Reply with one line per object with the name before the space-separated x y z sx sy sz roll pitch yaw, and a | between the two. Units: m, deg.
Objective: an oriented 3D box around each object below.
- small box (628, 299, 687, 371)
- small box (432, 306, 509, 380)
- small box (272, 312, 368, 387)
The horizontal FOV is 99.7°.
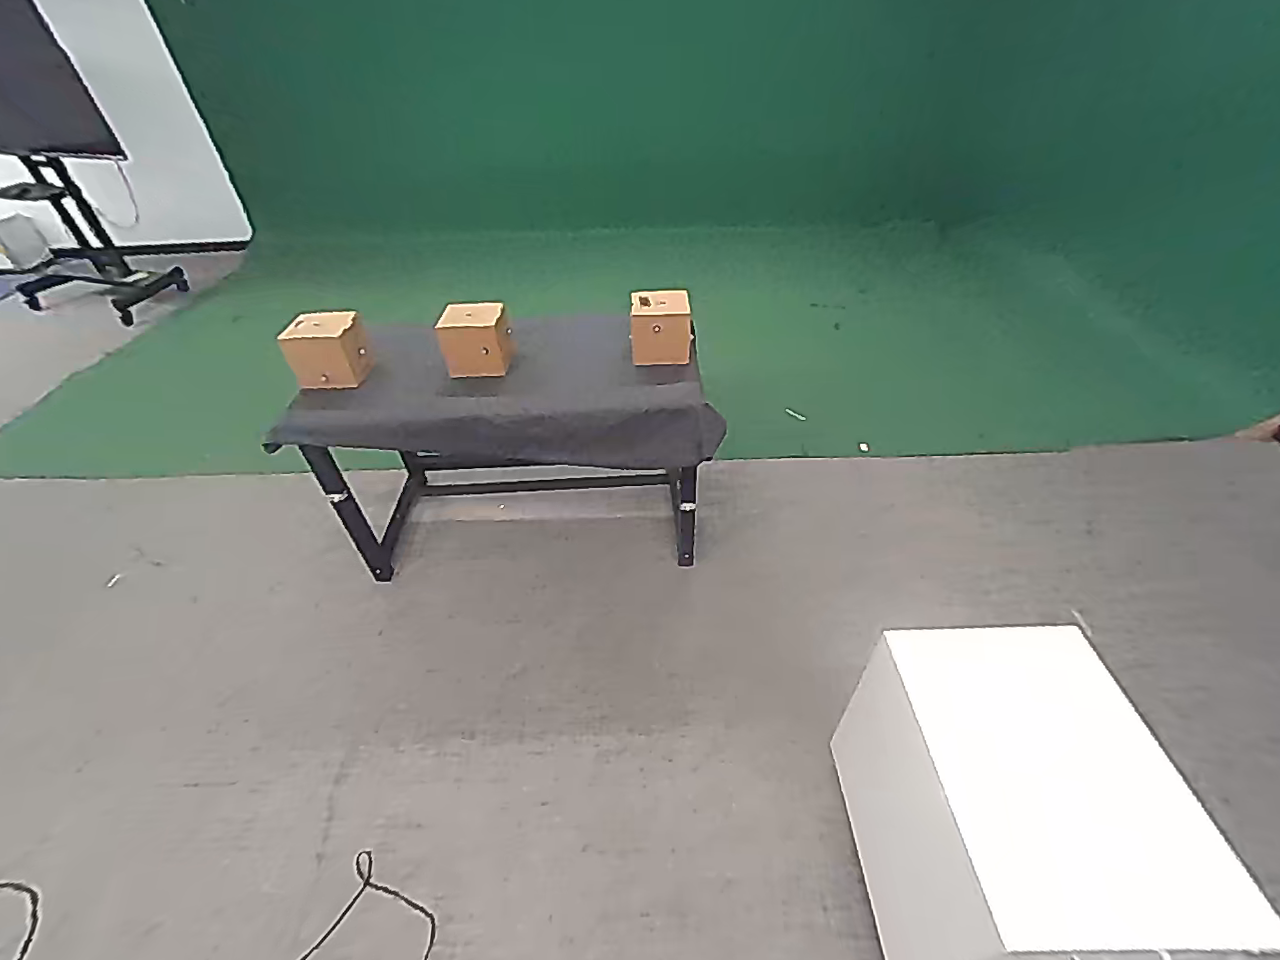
small box | 0.053 -0.452 1.688 0.179 0.176 0.168 0 41 0
small box | -0.511 -0.419 1.661 0.179 0.176 0.168 -2 39 0
small box | -0.948 -0.389 1.625 0.179 0.176 0.168 0 40 -2
